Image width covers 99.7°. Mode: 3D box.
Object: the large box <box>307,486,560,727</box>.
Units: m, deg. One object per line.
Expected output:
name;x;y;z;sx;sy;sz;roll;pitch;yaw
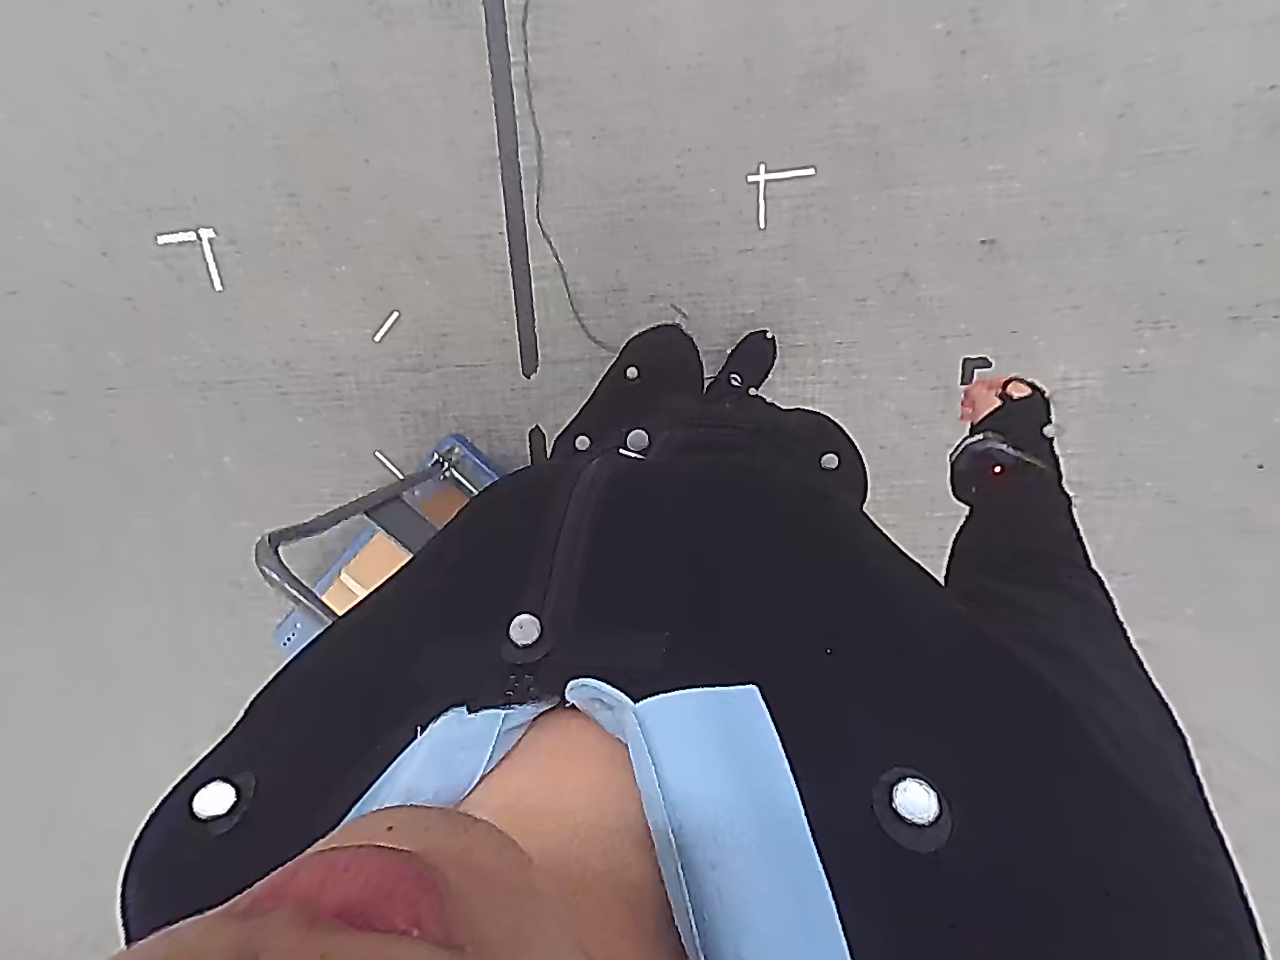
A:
large box;-0.466;0.287;1.303;0.408;0.320;0.320;45;105;-6
